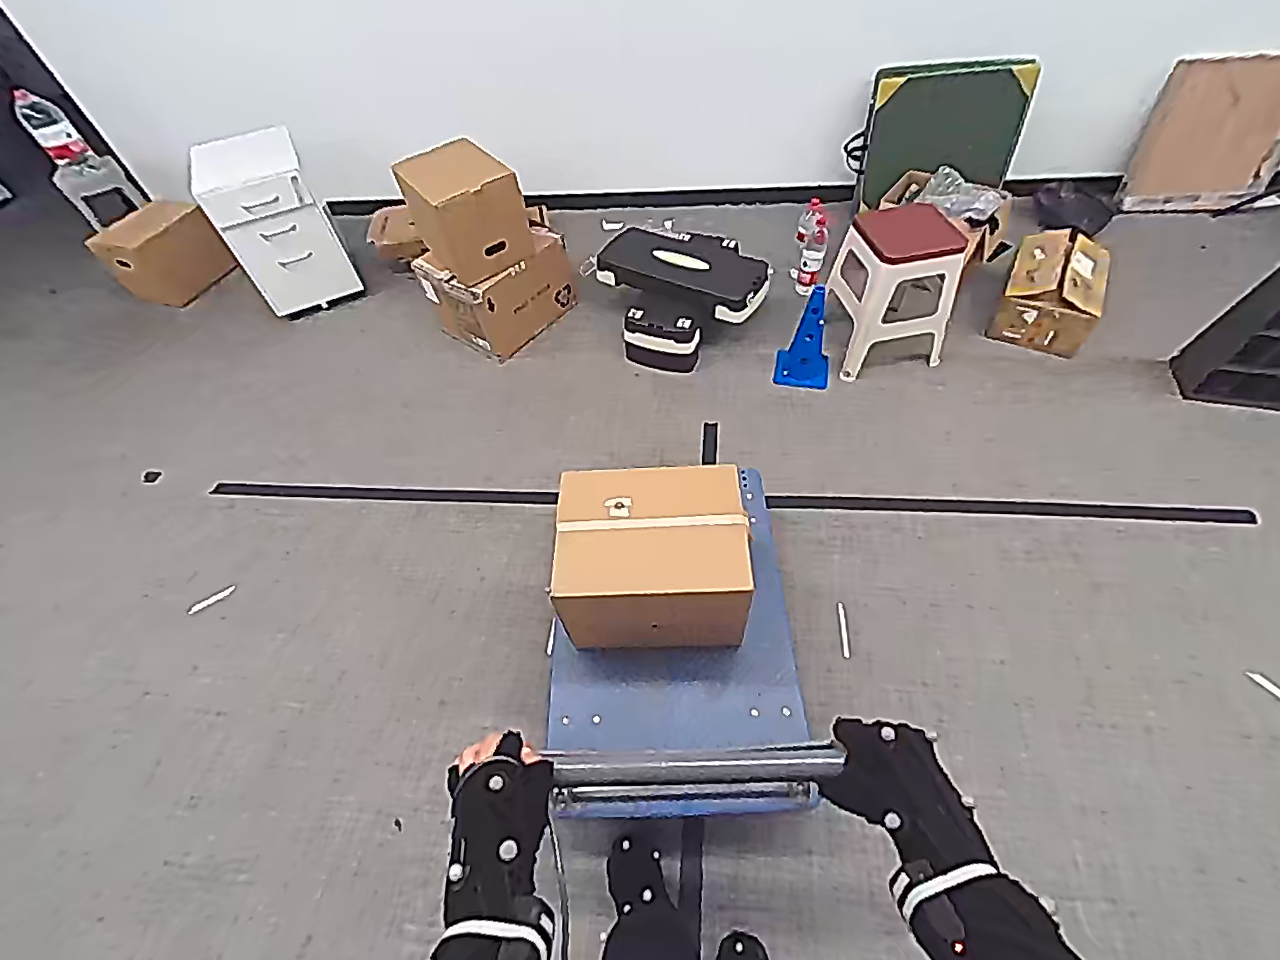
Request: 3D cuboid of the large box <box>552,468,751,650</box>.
[{"bbox_3d":[0.031,0.195,1.271,0.408,0.320,0.320,-3,53,3],"label":"large box"}]
